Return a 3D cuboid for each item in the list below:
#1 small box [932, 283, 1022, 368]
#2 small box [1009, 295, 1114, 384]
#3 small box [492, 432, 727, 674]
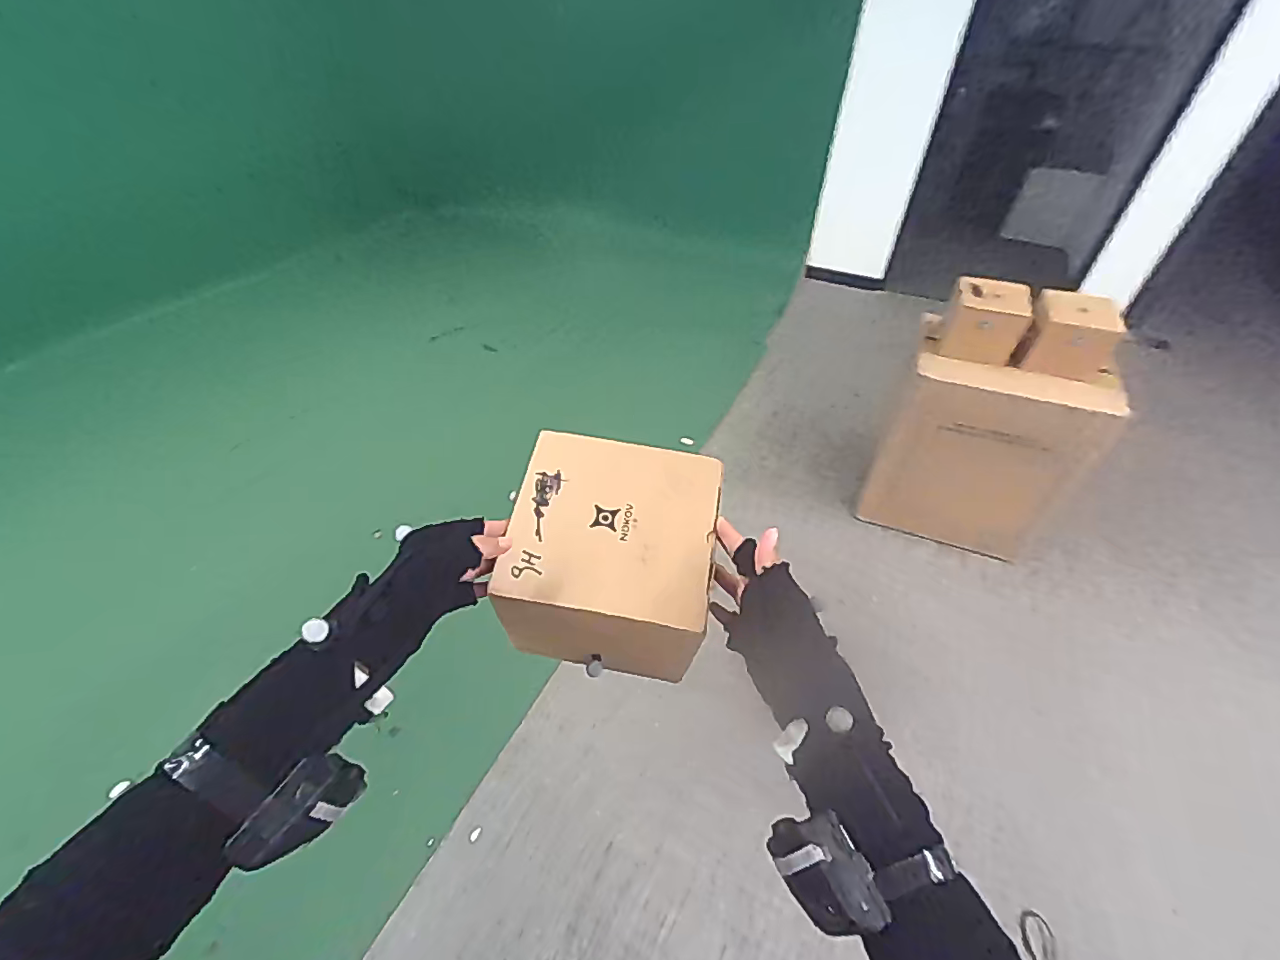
[{"bbox_3d":[0.975,-0.449,1.579,0.179,0.176,0.168,15,52,13],"label":"small box"},{"bbox_3d":[1.176,-0.393,1.529,0.179,0.176,0.168,15,52,12],"label":"small box"},{"bbox_3d":[-0.024,0.080,0.532,0.179,0.176,0.168,11,57,2],"label":"small box"}]
